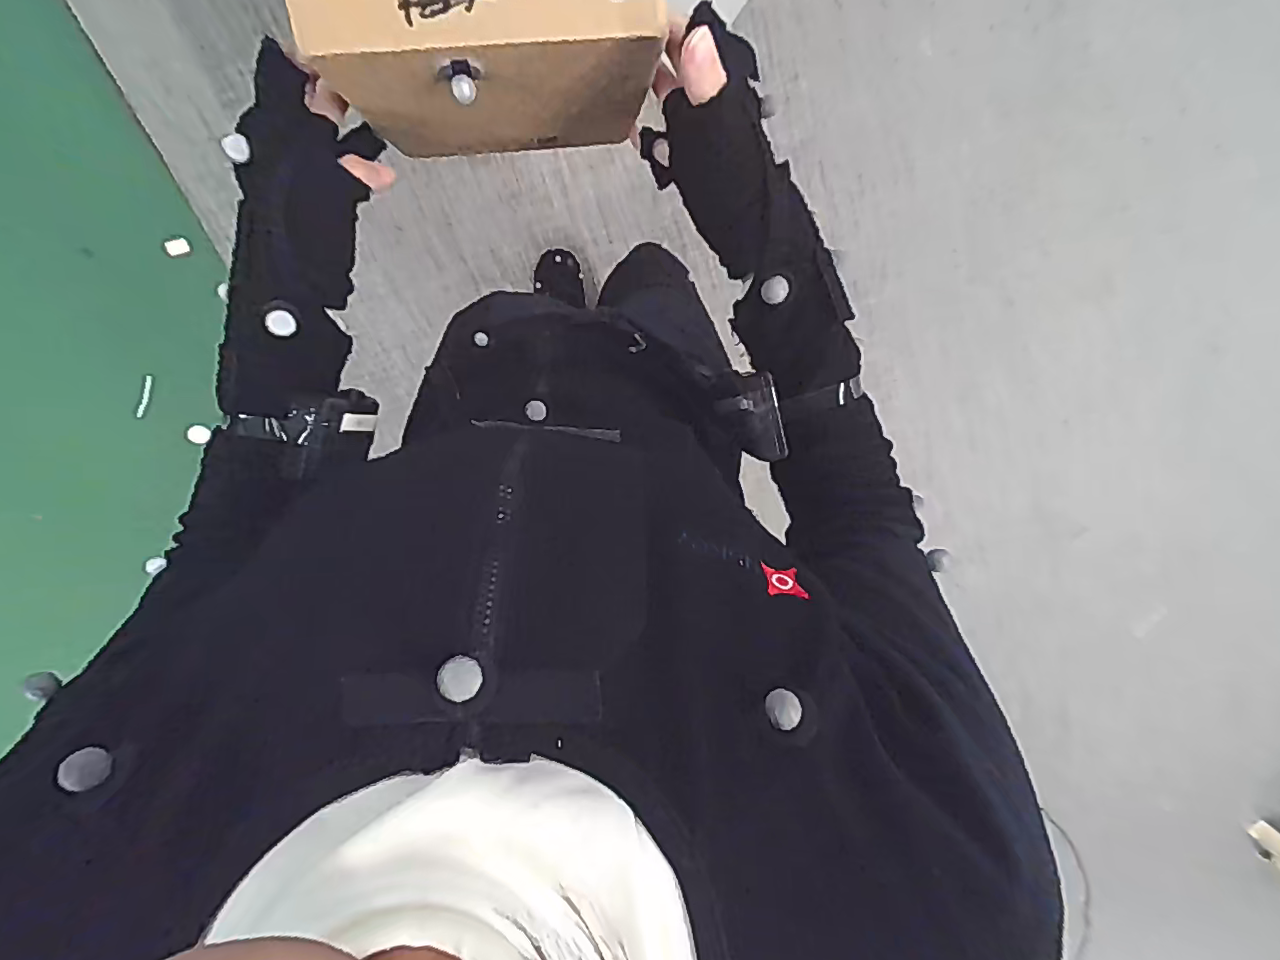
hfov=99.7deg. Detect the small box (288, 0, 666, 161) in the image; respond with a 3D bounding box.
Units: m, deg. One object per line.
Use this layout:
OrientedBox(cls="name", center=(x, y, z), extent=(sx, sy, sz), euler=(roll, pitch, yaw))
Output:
OrientedBox(cls="small box", center=(-0.086, -0.300, 0.295), extent=(0.168, 0.176, 0.179), euler=(-8, 107, -4))
